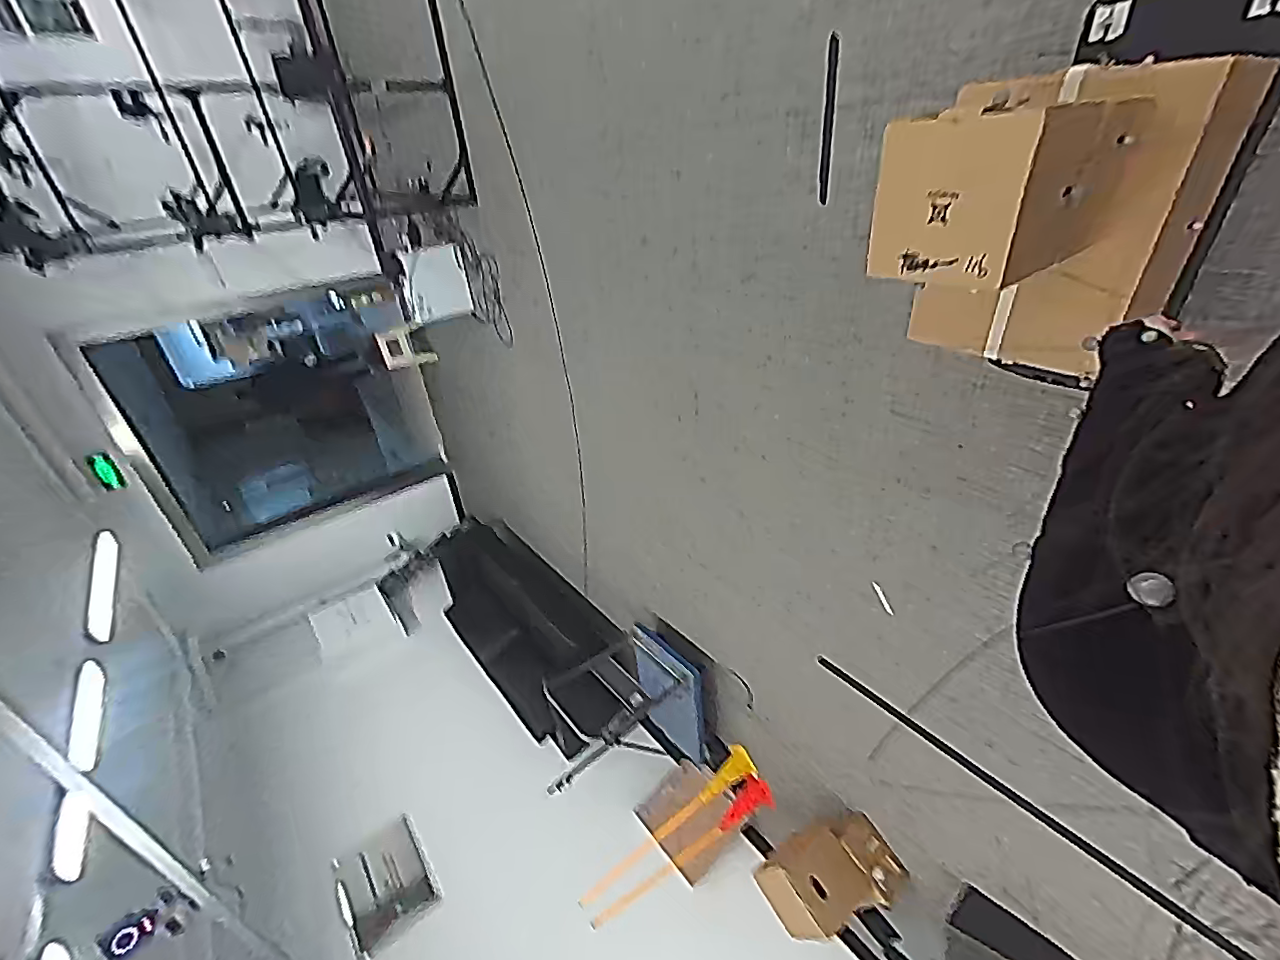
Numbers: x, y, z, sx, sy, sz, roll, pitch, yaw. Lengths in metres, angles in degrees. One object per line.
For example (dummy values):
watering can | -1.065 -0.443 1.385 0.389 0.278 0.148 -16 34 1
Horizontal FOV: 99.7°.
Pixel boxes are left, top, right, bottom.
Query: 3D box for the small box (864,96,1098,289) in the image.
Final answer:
small box | 0.399 -0.342 0.642 0.168 0.176 0.179 32 137 43

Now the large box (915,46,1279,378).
large box | 0.716 -0.437 0.893 0.320 0.320 0.408 33 139 43

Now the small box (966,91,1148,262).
small box | 0.527 -0.406 0.721 0.168 0.176 0.179 32 138 42

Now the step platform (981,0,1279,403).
step platform | 0.919 -0.493 1.009 0.286 0.204 0.684 36 141 39
